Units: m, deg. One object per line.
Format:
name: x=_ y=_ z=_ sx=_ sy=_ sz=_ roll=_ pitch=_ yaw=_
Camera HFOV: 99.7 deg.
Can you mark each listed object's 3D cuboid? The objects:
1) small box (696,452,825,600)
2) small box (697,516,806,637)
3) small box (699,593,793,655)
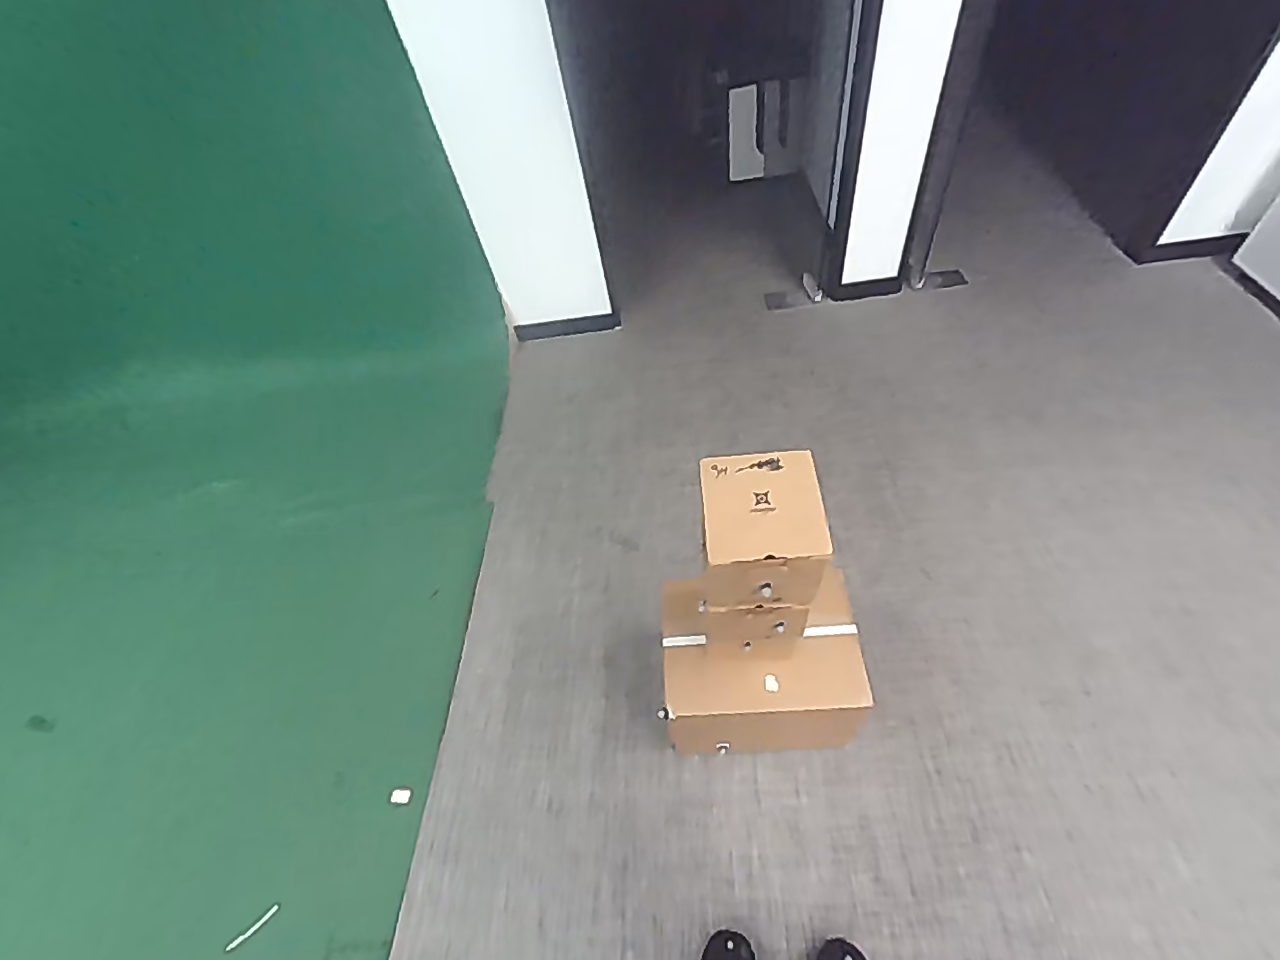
small box: x=0.177 y=0.079 z=0.835 sx=0.168 sy=0.176 sz=0.179 roll=-4 pitch=57 yaw=6
small box: x=0.192 y=0.174 z=0.967 sx=0.168 sy=0.176 sz=0.179 roll=-5 pitch=55 yaw=5
small box: x=0.215 y=0.251 z=1.105 sx=0.179 sy=0.176 sz=0.168 roll=1 pitch=55 yaw=10
